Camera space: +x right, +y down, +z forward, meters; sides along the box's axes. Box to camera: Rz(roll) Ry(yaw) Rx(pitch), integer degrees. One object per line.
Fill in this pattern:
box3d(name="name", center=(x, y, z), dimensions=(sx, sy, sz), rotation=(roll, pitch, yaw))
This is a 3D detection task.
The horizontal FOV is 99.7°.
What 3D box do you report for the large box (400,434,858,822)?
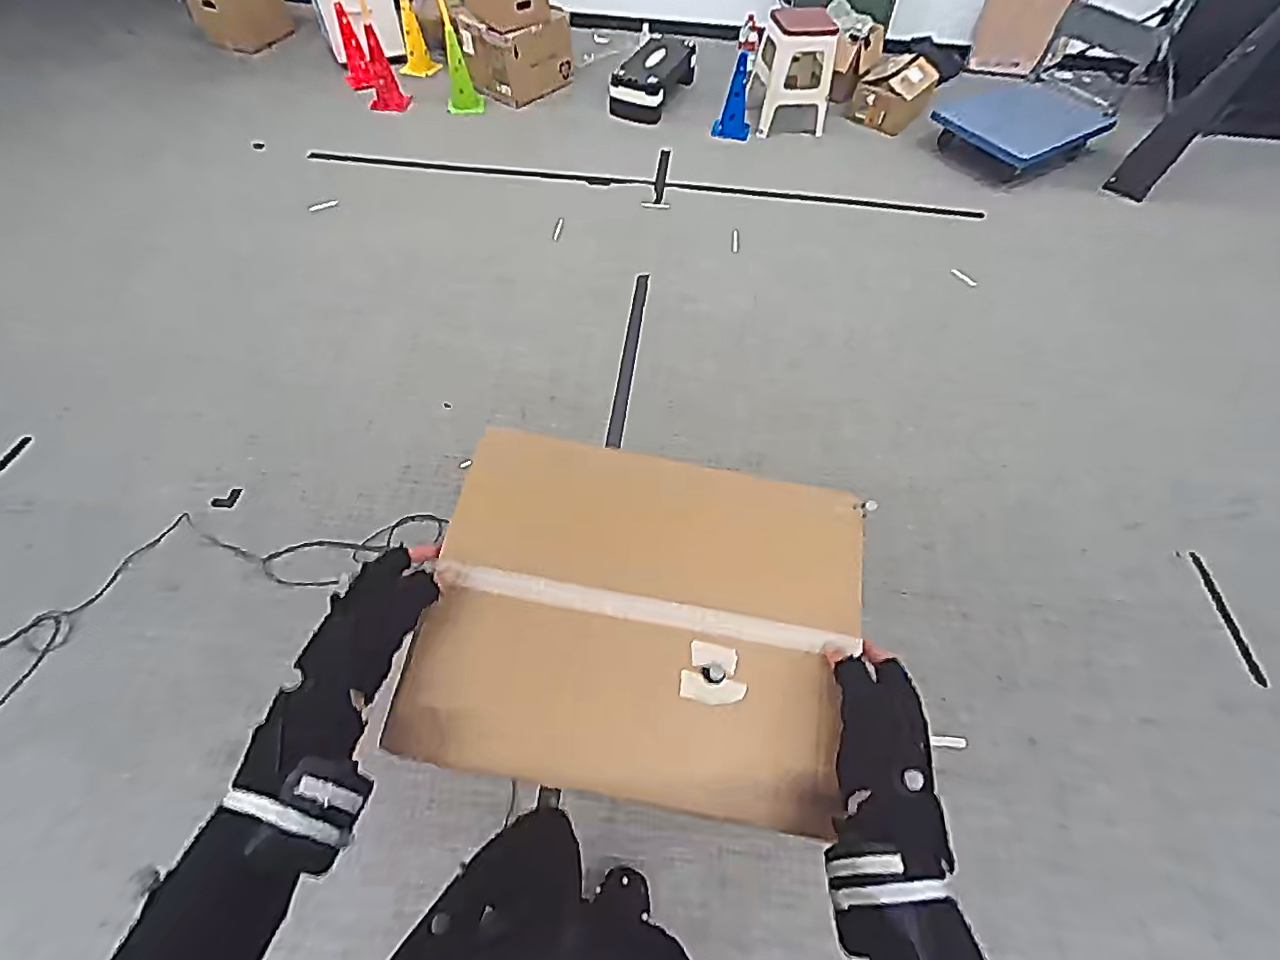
box3d(name="large box", center=(0.000, 0.179, 0.654), dimensions=(0.408, 0.320, 0.320), rotation=(11, 67, 0))
